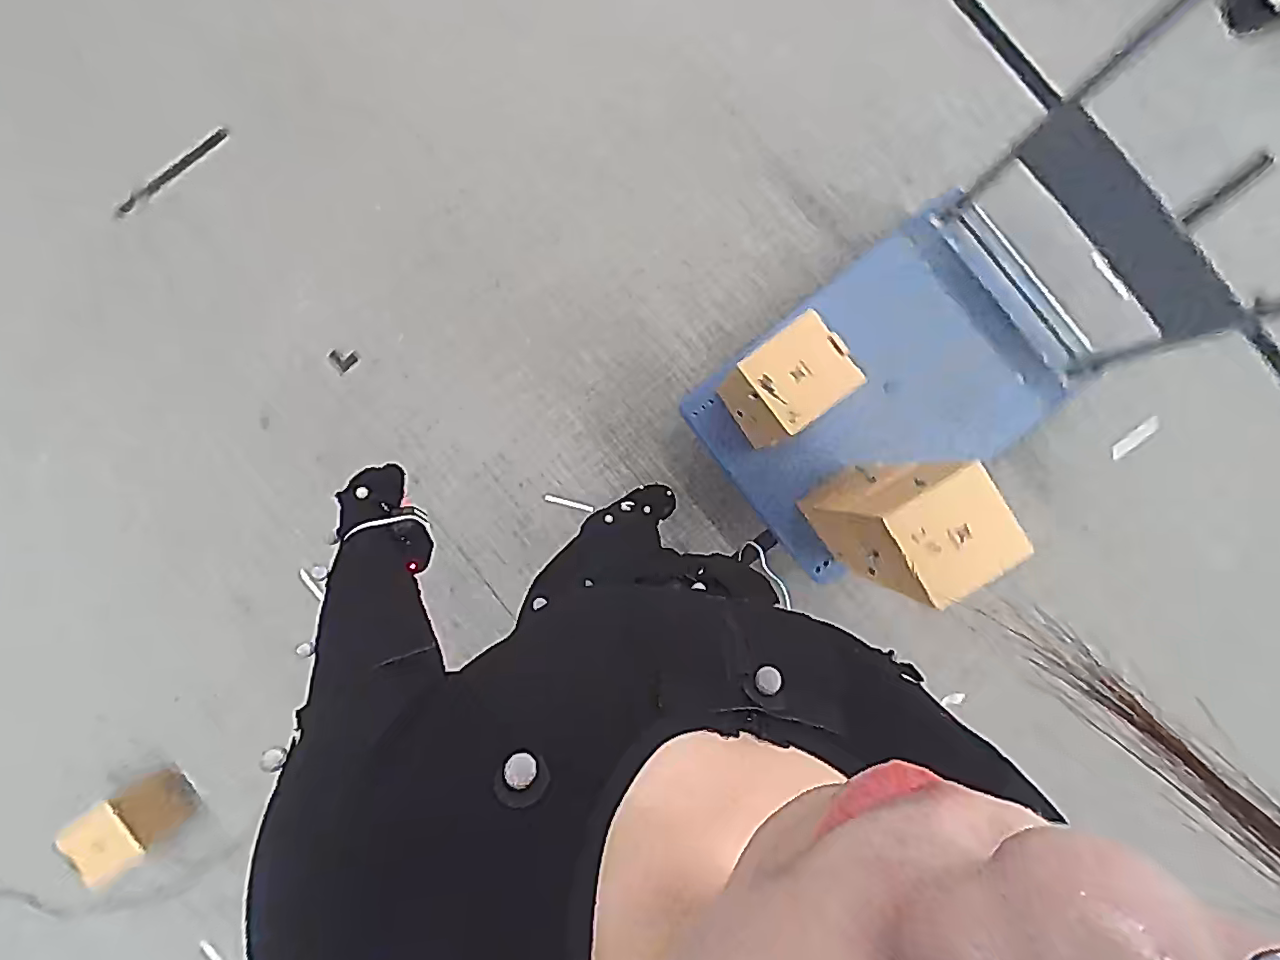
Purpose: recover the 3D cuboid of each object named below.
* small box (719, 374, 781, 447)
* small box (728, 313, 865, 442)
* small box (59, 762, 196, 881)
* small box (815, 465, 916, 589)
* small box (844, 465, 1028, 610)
[{"bbox_3d":[0.299,-0.187,1.229,0.168,0.176,0.179,-33,89,0],"label":"small box"},{"bbox_3d":[0.295,-0.192,1.065,0.179,0.176,0.168,-36,89,0],"label":"small box"},{"bbox_3d":[-1.369,0.911,1.458,0.179,0.176,0.168,-36,90,1],"label":"small box"},{"bbox_3d":[0.475,0.087,1.065,0.168,0.176,0.179,-32,91,1],"label":"small box"},{"bbox_3d":[0.477,0.086,0.900,0.179,0.176,0.168,-31,90,1],"label":"small box"}]
